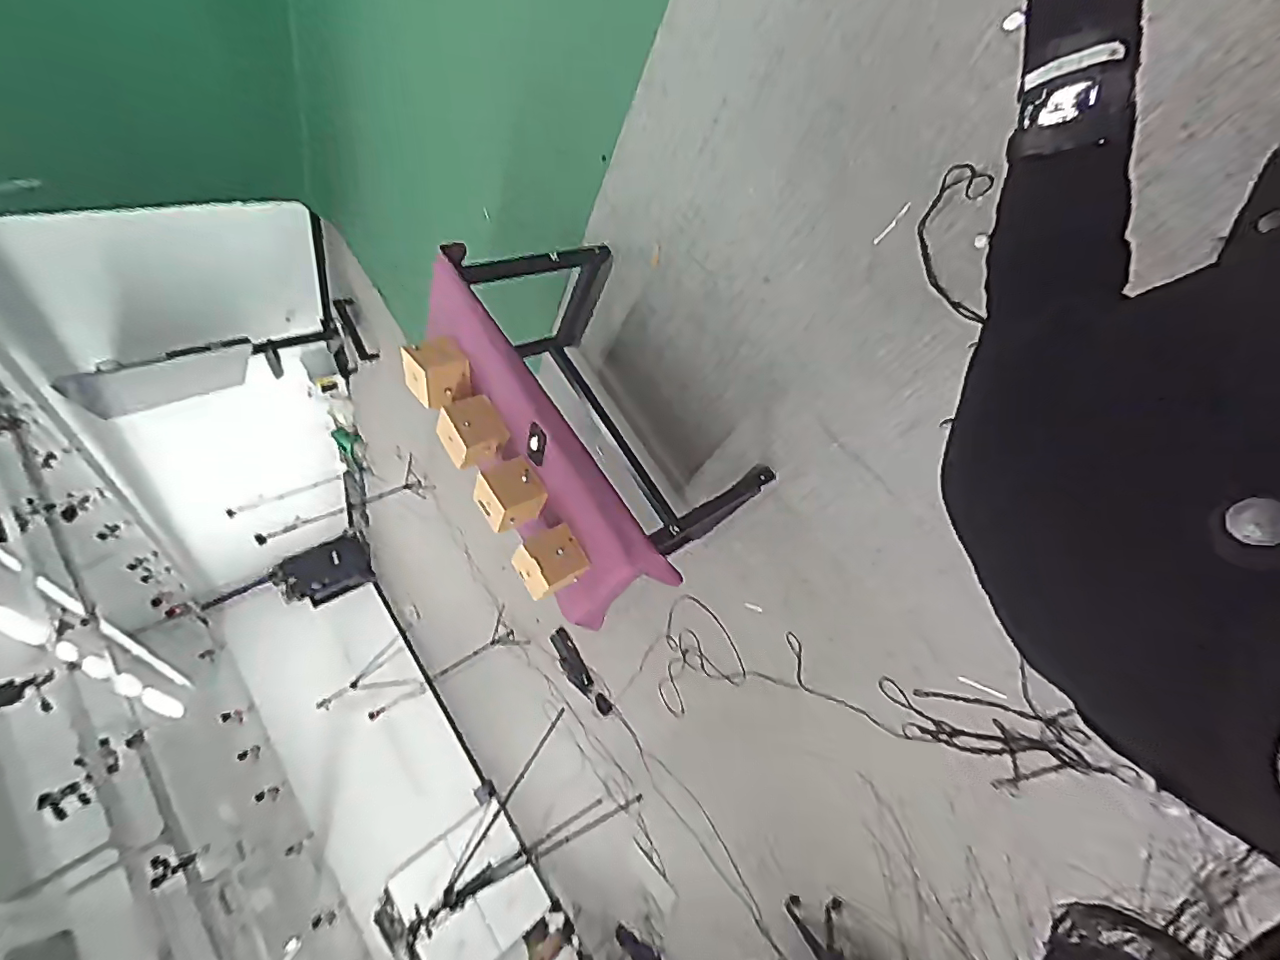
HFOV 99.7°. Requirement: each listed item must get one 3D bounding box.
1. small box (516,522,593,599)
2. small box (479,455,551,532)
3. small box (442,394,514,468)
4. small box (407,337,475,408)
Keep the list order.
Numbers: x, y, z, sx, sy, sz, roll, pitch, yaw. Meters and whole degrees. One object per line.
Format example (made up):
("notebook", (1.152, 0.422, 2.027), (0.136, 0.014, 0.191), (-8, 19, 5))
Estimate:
("small box", (-0.276, 0.262, 1.778), (0.168, 0.176, 0.179), (57, 144, 11))
("small box", (-0.423, 0.044, 1.831), (0.168, 0.176, 0.179), (53, 143, 15))
("small box", (-0.559, -0.173, 1.876), (0.179, 0.176, 0.168), (58, 144, 9))
("small box", (-0.697, -0.387, 1.920), (0.179, 0.176, 0.168), (43, 141, 28))
